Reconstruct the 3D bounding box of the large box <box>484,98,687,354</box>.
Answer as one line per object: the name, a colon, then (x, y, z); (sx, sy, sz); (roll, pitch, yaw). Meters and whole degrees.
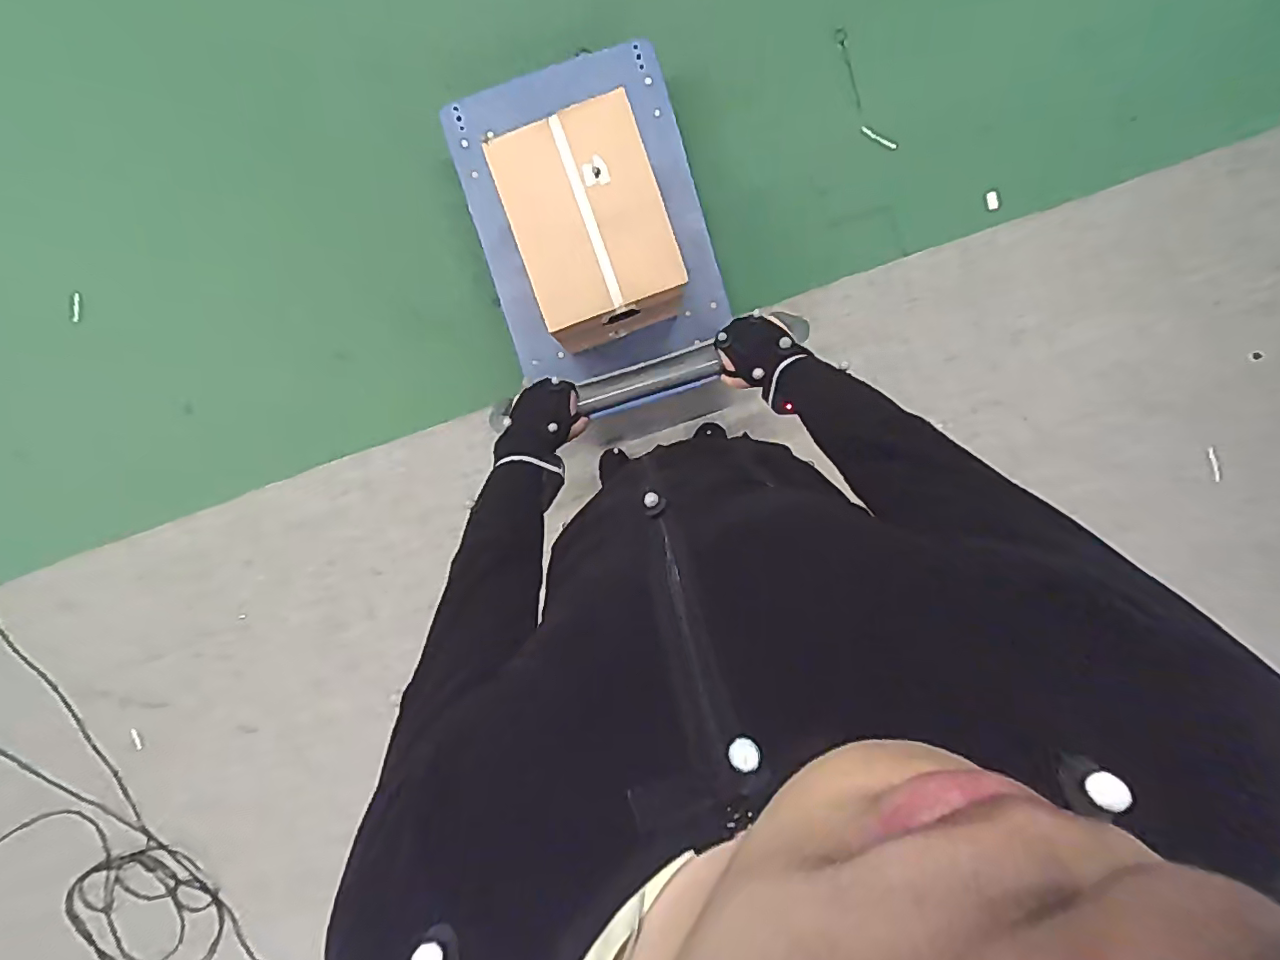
large box: (-0.106, -0.554, 1.266); (0.320, 0.320, 0.408); (-20, 94, 3)
